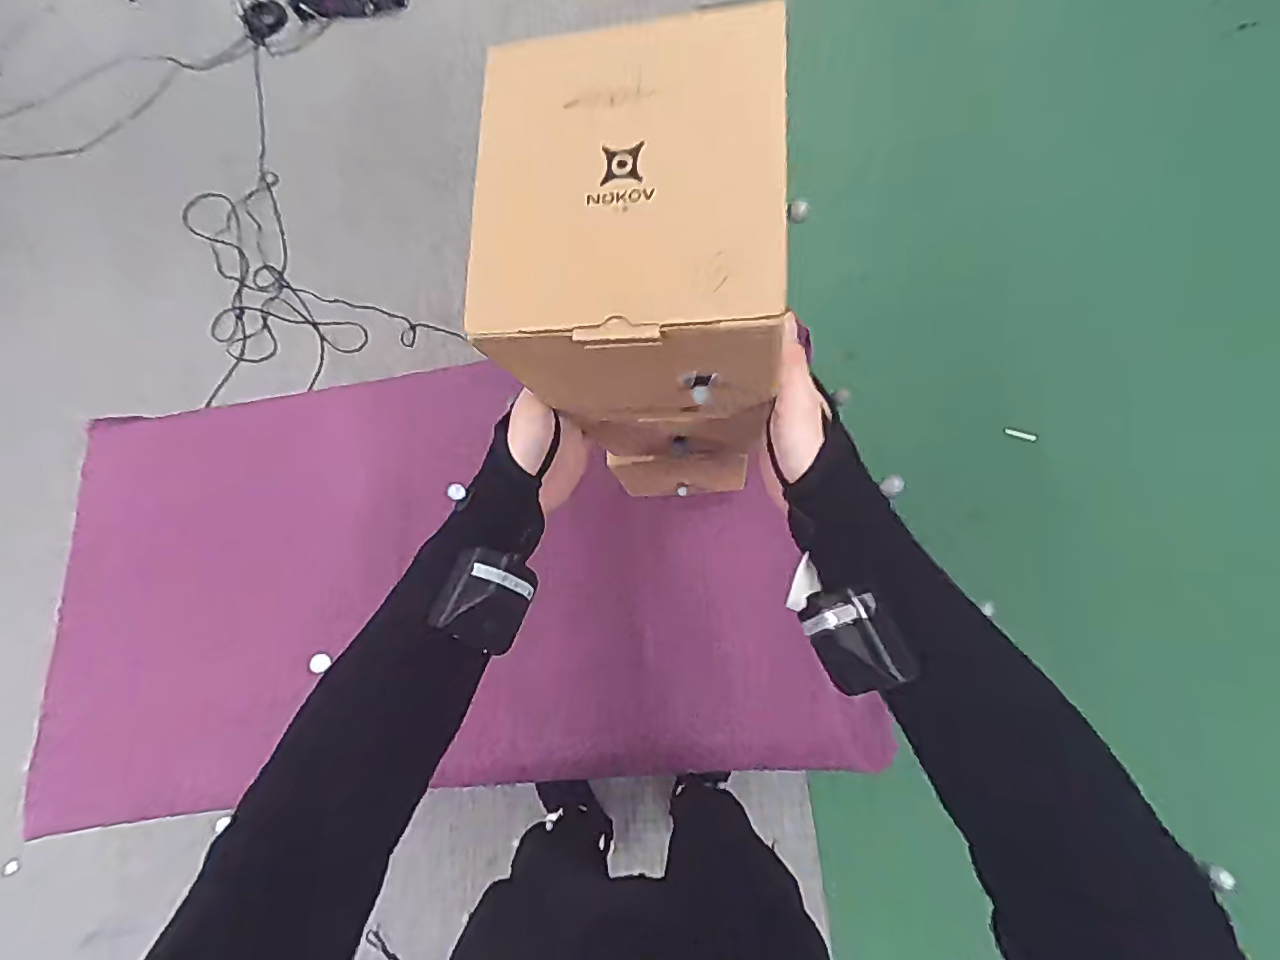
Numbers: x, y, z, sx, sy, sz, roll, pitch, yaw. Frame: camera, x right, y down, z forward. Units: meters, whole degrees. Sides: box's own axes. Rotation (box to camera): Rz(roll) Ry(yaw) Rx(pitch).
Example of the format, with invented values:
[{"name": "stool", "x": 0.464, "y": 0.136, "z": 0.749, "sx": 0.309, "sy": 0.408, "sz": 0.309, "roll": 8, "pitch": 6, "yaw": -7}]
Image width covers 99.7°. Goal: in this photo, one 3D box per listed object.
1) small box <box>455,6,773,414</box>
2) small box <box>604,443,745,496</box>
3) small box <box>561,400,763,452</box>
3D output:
[{"name": "small box", "x": 0.002, "y": -0.145, "z": 0.358, "sx": 0.168, "sy": 0.176, "sz": 0.179, "roll": 1, "pitch": 81, "yaw": 12}, {"name": "small box", "x": 0.049, "y": -0.085, "z": 0.719, "sx": 0.168, "sy": 0.176, "sz": 0.179, "roll": -4, "pitch": 75, "yaw": 9}, {"name": "small box", "x": 0.033, "y": -0.123, "z": 0.518, "sx": 0.168, "sy": 0.176, "sz": 0.179, "roll": -1, "pitch": 81, "yaw": 12}]
